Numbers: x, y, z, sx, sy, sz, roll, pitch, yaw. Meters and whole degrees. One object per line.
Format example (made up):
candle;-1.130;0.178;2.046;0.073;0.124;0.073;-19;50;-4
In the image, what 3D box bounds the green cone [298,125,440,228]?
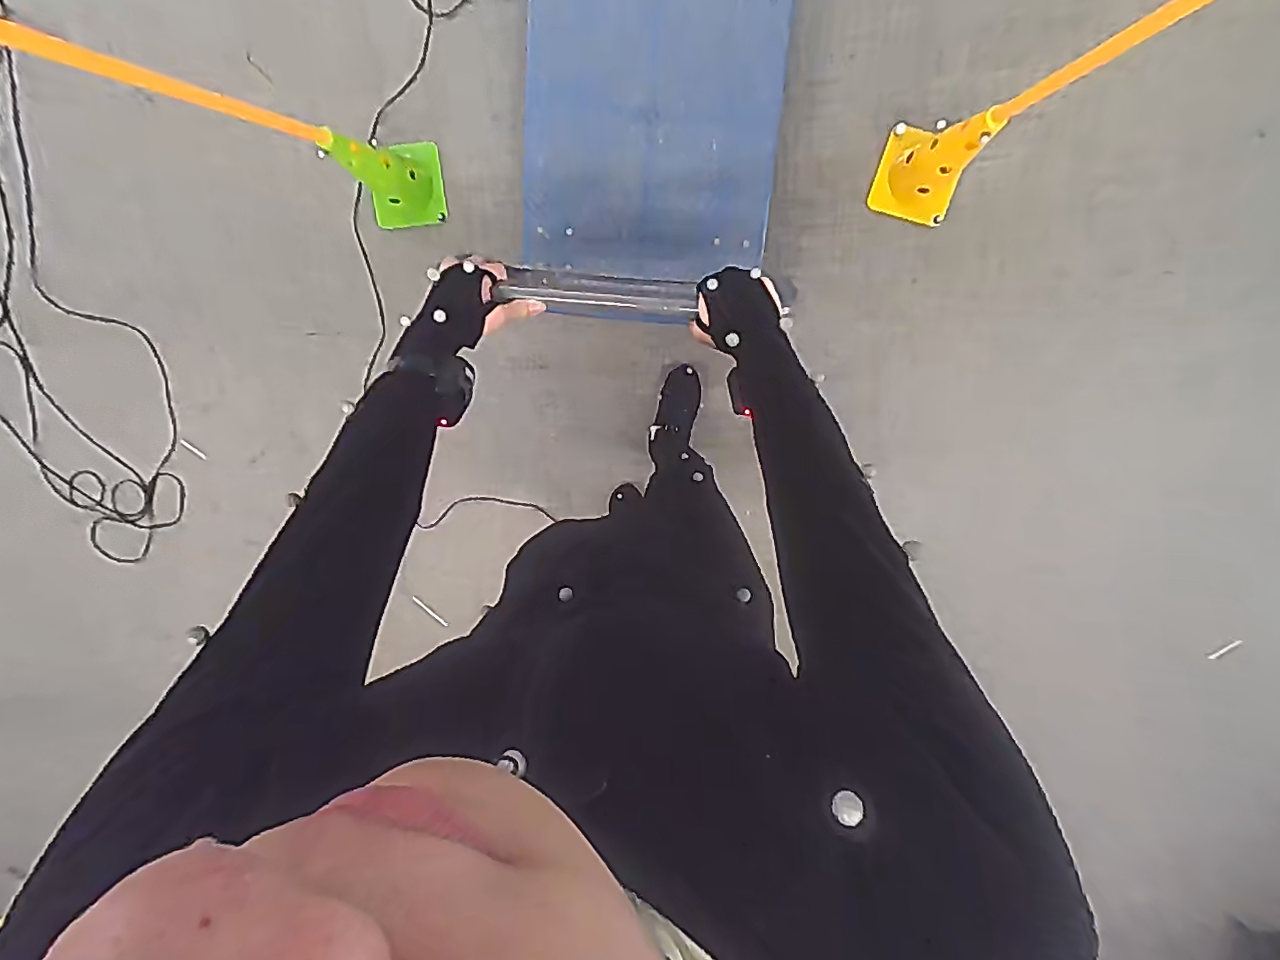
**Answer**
green cone;-0.654;-0.746;1.269;0.202;0.368;0.200;-4;103;7
